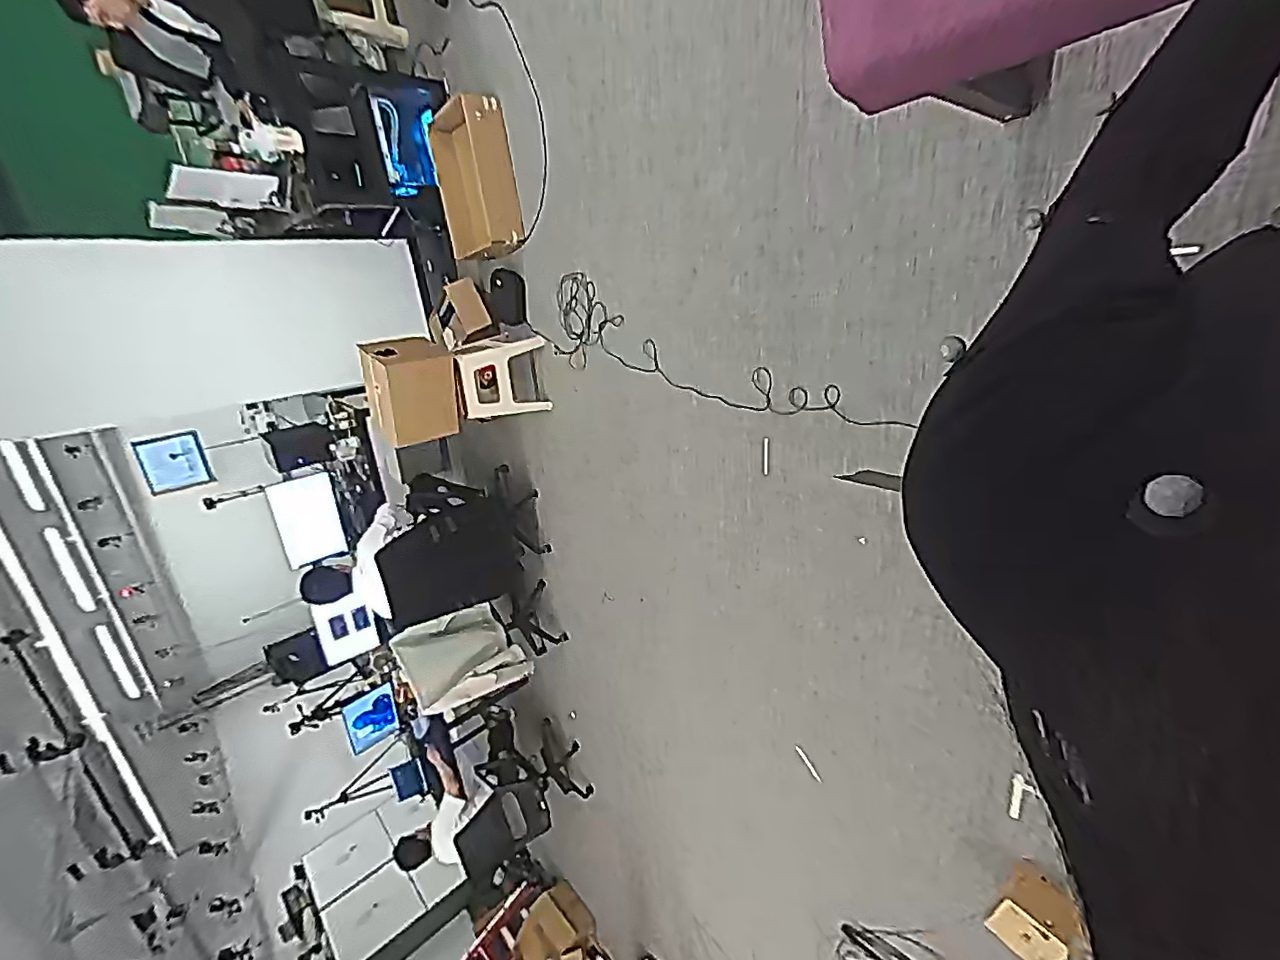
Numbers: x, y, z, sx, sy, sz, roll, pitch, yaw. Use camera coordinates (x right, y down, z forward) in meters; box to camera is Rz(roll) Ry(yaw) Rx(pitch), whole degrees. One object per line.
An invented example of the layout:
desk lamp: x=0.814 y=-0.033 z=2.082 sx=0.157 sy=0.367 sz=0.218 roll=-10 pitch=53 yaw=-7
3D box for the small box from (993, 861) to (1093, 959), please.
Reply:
small box: x=1.190 y=1.285 z=1.594 sx=0.168 sy=0.176 sz=0.179 roll=33 pitch=131 yaw=37
